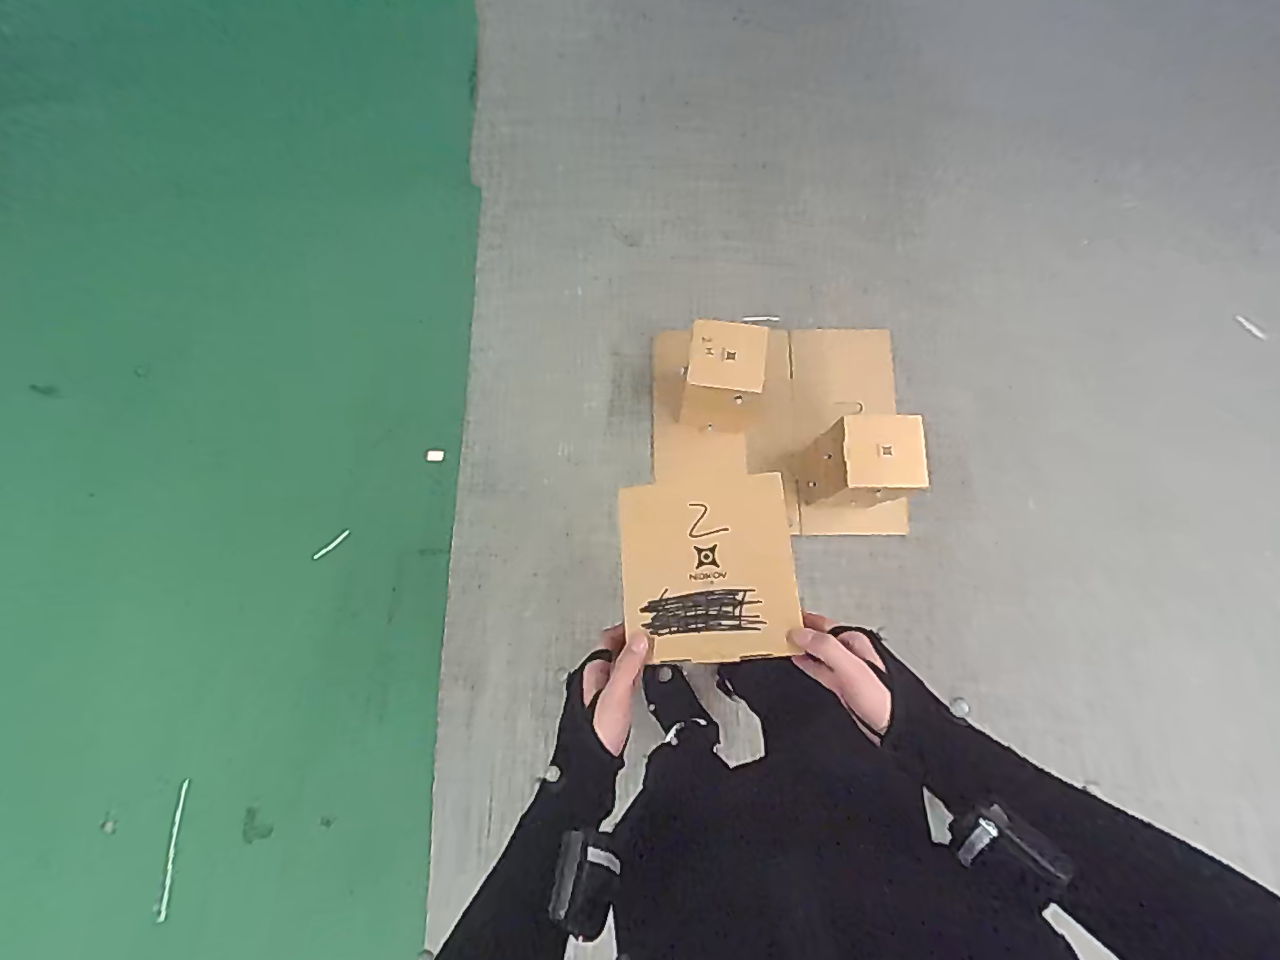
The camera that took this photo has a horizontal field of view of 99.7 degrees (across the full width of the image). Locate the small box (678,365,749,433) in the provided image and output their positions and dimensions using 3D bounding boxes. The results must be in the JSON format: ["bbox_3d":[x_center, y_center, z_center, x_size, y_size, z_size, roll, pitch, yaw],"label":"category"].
[{"bbox_3d":[0.203,-0.236,1.476,0.179,0.176,0.168,8,78,3],"label":"small box"}]

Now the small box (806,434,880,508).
[{"bbox_3d":[0.542,-0.019,1.422,0.179,0.176,0.168,1,78,2],"label":"small box"}]

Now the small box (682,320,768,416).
[{"bbox_3d":[0.201,-0.264,1.312,0.179,0.176,0.168,8,78,3],"label":"small box"}]

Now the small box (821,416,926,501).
[{"bbox_3d":[0.536,-0.046,1.262,0.179,0.176,0.168,0,79,3],"label":"small box"}]
